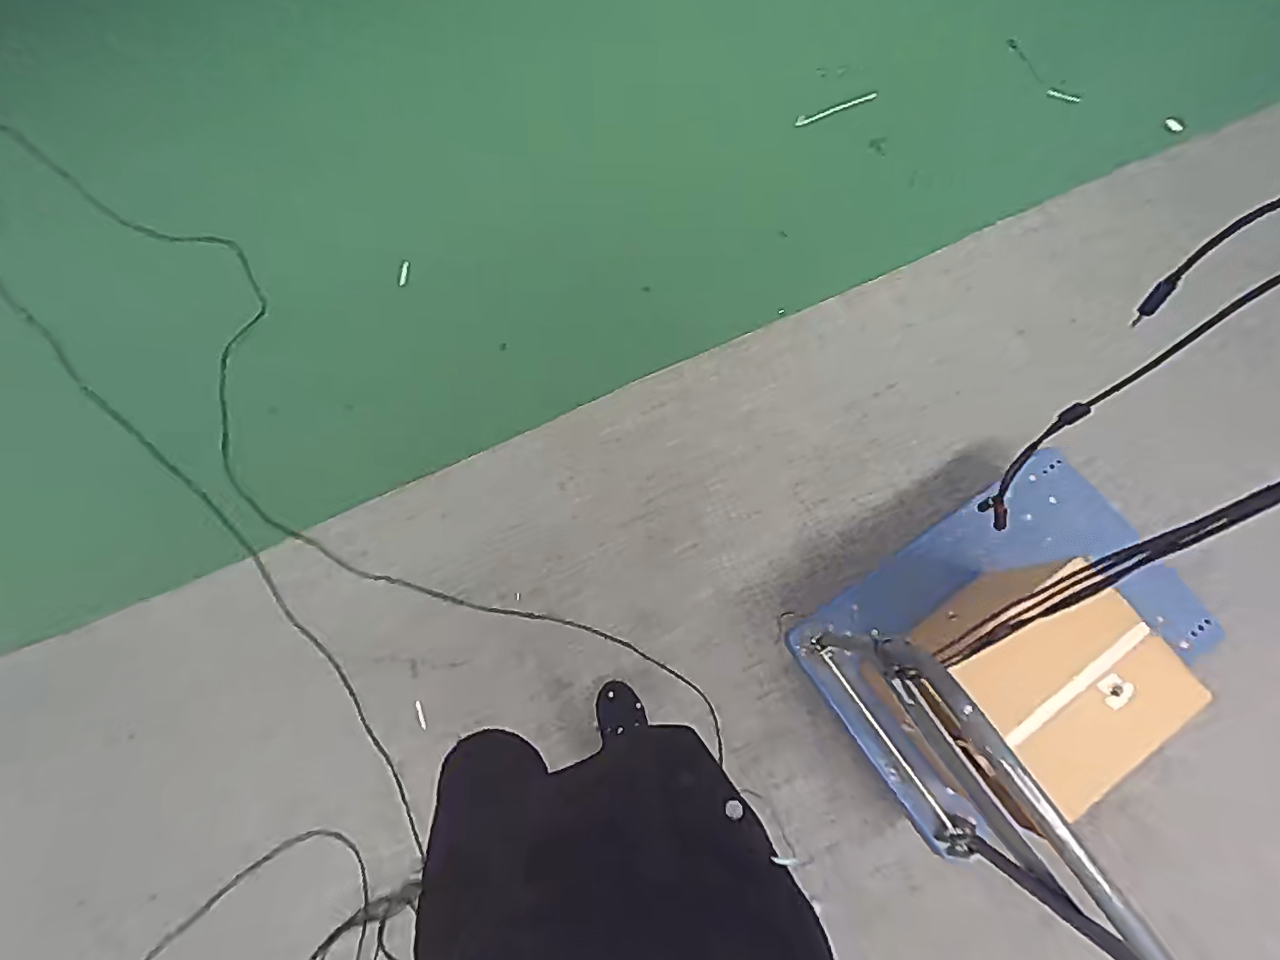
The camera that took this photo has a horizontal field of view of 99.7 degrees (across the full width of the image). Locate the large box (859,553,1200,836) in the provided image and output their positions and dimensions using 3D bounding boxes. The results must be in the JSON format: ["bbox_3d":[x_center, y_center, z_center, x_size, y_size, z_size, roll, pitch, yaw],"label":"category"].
[{"bbox_3d":[0.744,0.408,1.100,0.408,0.320,0.320,-33,77,-9],"label":"large box"}]
